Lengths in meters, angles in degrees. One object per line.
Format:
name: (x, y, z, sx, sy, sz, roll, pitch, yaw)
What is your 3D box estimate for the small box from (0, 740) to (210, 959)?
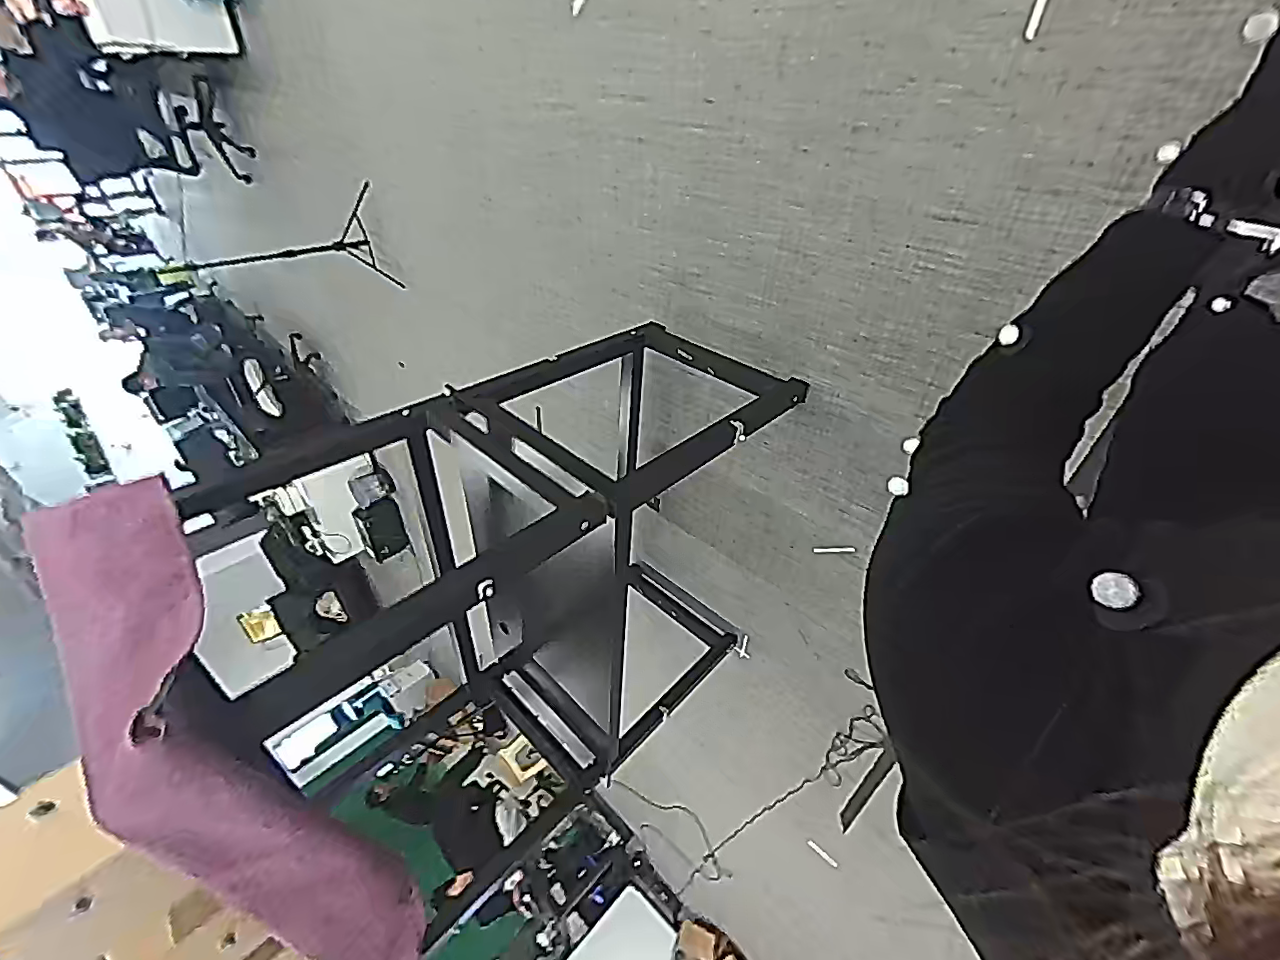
small box: (-0.712, 0.482, 0.704, 0.168, 0.176, 0.179, 35, 139, 31)
